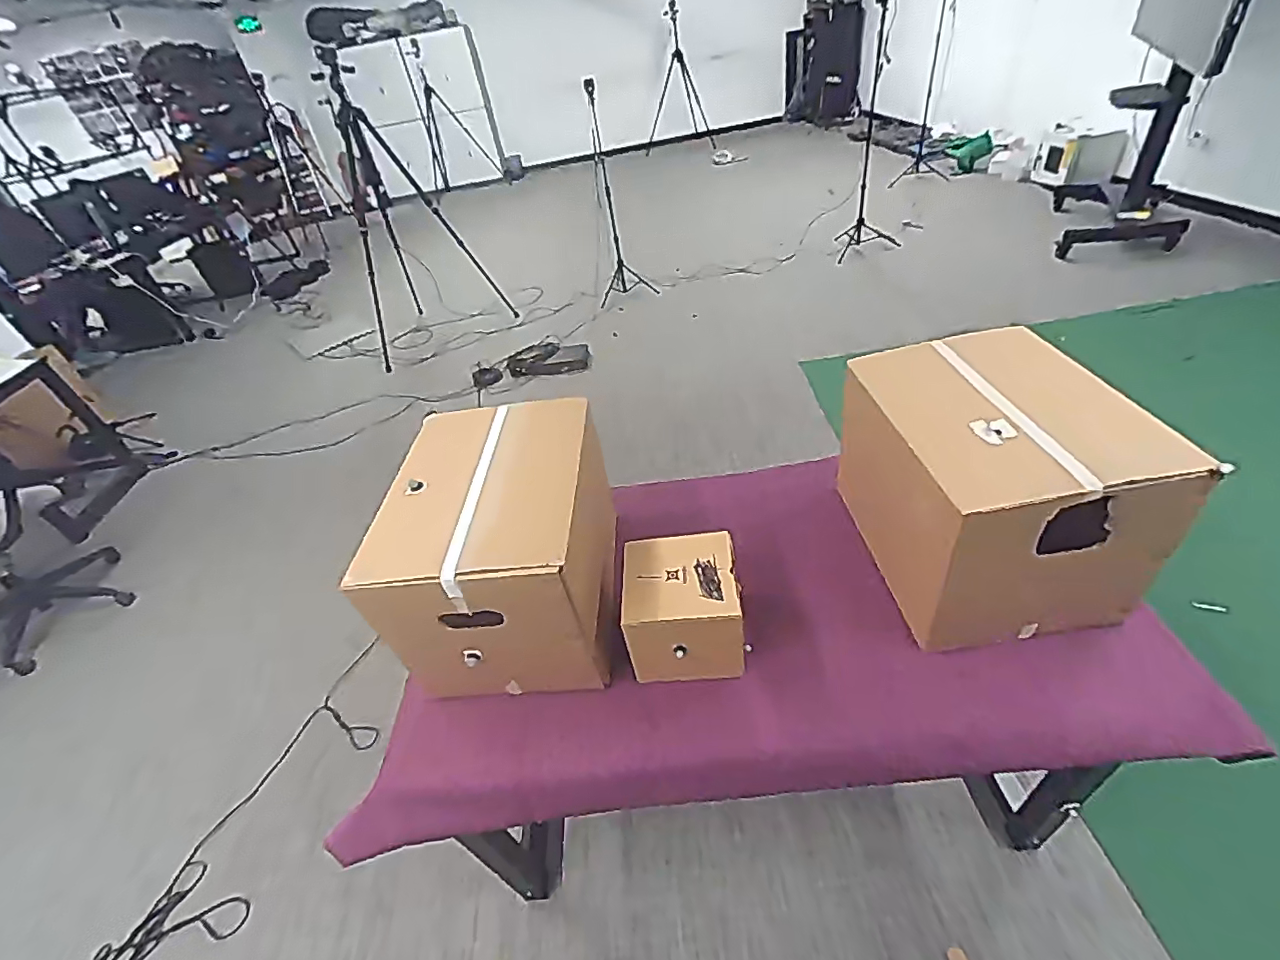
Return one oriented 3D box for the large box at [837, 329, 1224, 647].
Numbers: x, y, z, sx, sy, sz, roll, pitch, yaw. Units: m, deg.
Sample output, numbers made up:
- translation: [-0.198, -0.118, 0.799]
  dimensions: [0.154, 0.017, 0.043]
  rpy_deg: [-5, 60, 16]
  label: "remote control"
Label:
- translation: [0.553, 0.002, 0.894]
  dimensions: [0.320, 0.320, 0.408]
  rpy_deg: [-11, 40, 4]
  label: "large box"
